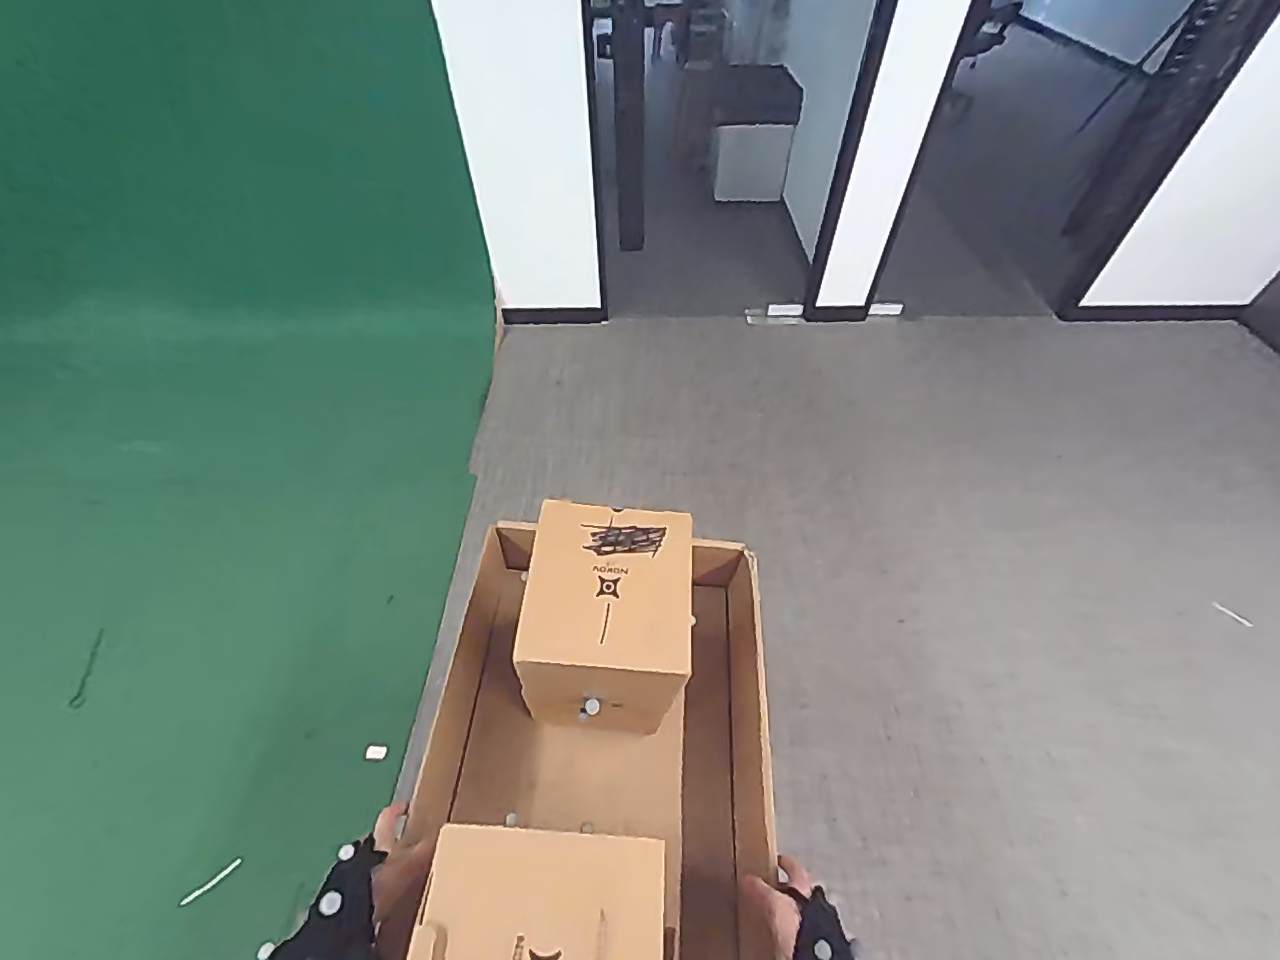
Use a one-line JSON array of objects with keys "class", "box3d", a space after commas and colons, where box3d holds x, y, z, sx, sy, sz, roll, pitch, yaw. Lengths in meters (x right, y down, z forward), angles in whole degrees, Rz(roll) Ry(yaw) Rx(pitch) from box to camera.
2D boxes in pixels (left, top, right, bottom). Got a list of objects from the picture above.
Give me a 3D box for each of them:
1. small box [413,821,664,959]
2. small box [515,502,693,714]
[{"class": "small box", "box3d": [-0.079, 0.385, 0.440, 0.179, 0.176, 0.168, 6, 55, -3]}, {"class": "small box", "box3d": [-0.036, 0.147, 0.608, 0.168, 0.176, 0.179, 6, 56, -2]}]
